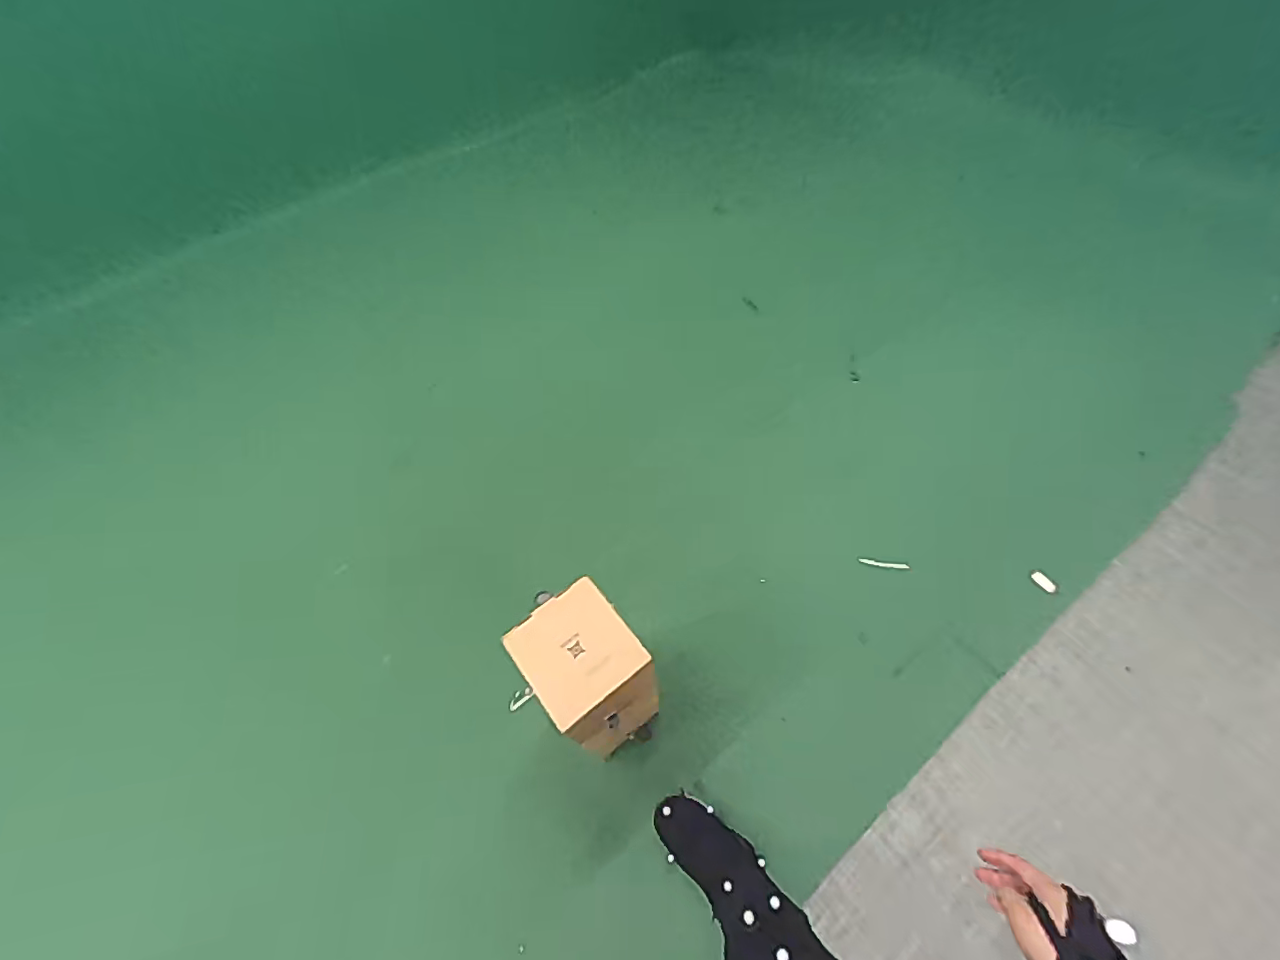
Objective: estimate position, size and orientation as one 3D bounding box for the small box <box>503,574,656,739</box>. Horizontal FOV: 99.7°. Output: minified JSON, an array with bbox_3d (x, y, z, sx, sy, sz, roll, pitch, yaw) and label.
[{"bbox_3d":[-0.091,0.291,0.877,0.168,0.176,0.179,-36,62,-16],"label":"small box"}]

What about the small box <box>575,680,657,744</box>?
[{"bbox_3d":[-0.080,0.373,1.018,0.168,0.176,0.179,-34,61,-16],"label":"small box"}]
